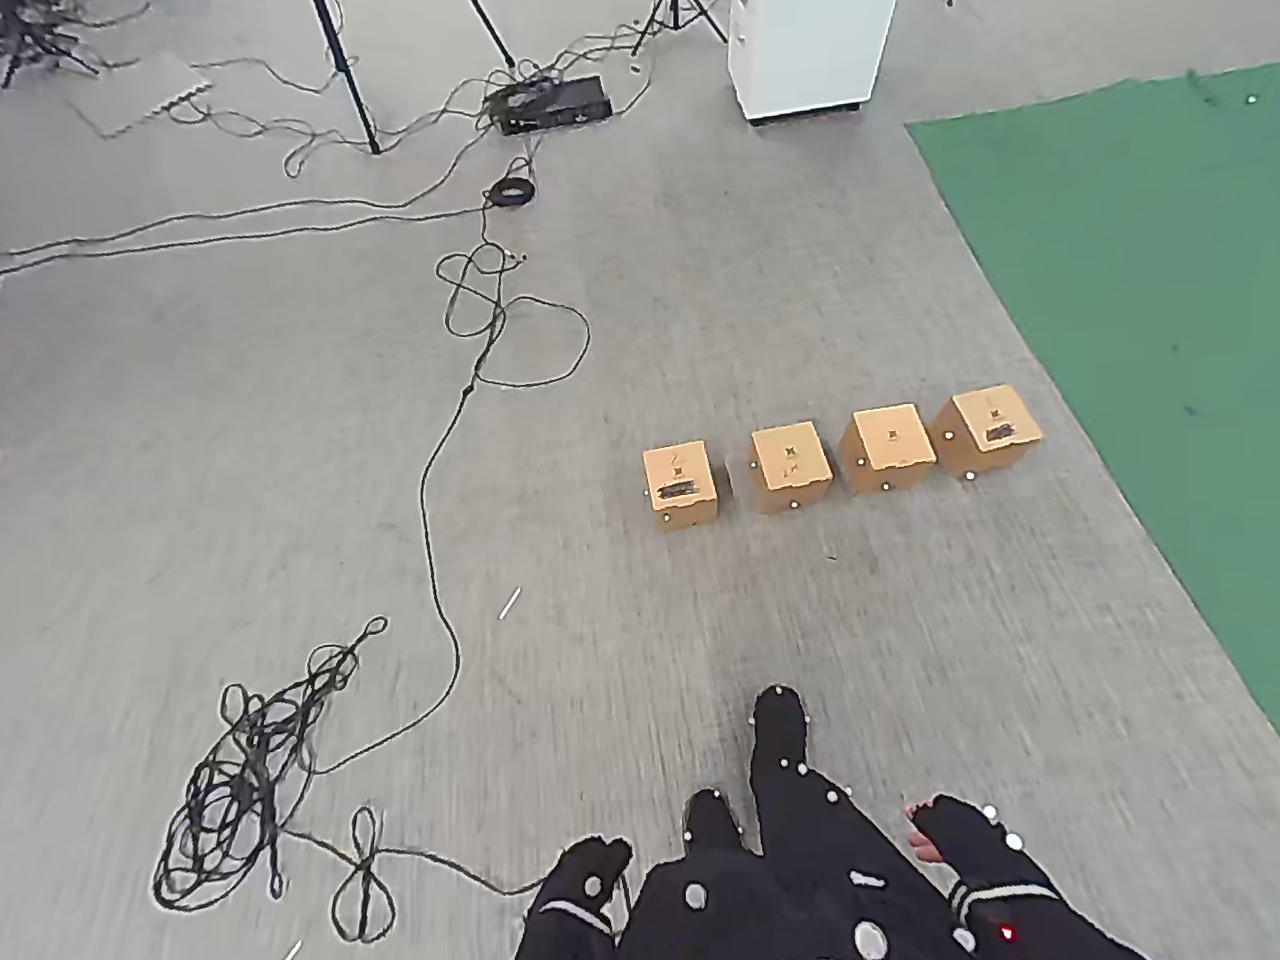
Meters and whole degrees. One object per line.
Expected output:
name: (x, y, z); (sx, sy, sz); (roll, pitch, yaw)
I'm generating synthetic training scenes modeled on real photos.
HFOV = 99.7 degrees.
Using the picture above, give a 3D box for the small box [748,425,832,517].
small box: (0.396, -0.021, 1.465); (0.168, 0.176, 0.179); (-11, 63, 1)

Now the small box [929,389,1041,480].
small box: (0.925, -0.114, 1.468); (0.168, 0.176, 0.179); (-12, 63, -1)

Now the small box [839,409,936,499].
small box: (0.660, -0.068, 1.468); (0.168, 0.176, 0.179); (-9, 64, 0)
